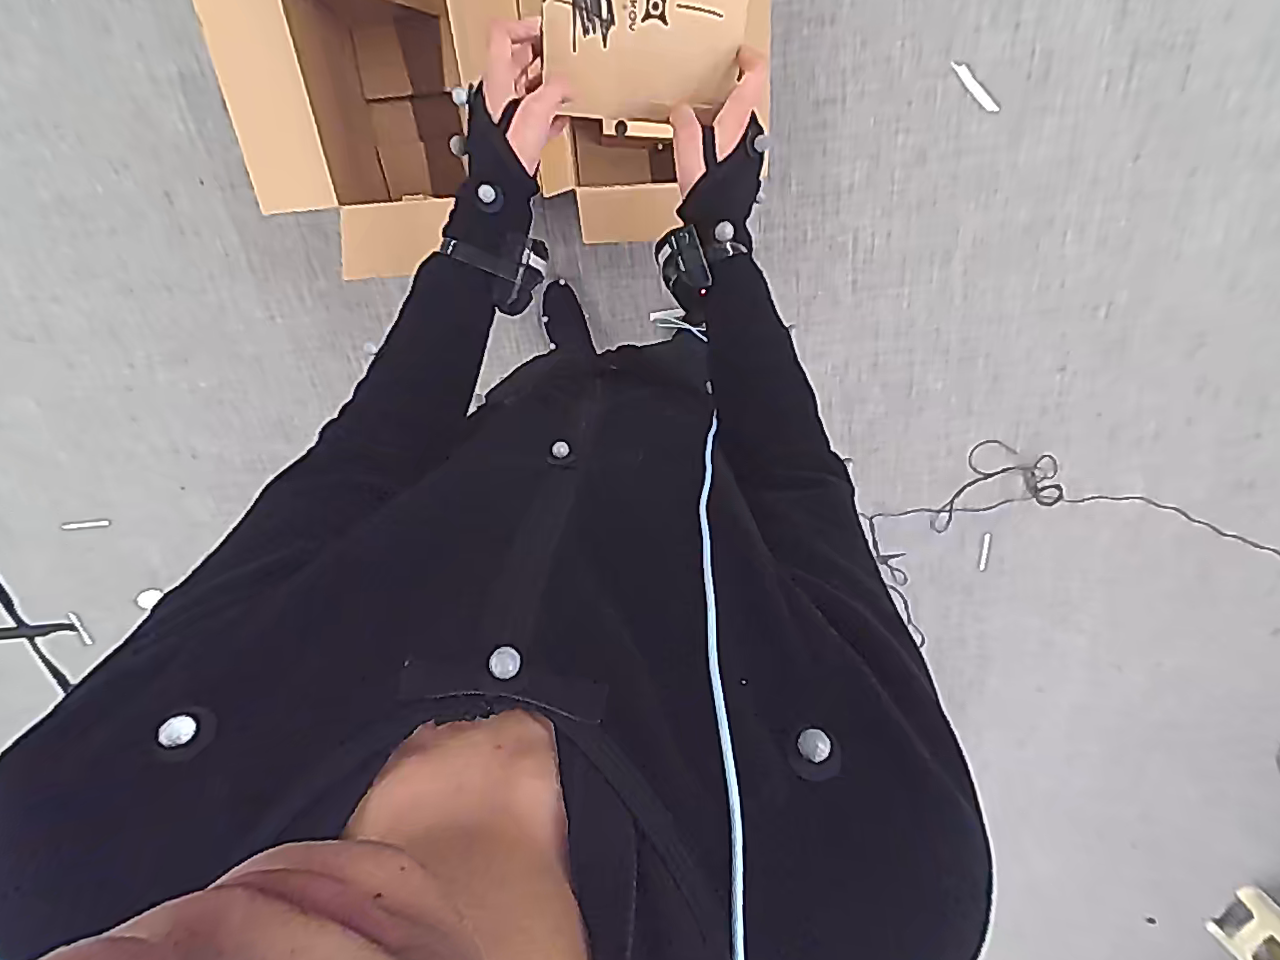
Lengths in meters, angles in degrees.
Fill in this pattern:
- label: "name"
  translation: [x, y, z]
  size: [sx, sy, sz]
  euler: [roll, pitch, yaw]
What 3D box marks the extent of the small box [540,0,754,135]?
- label: "small box"
  translation: [-0.001, -0.431, 0.504]
  size: [0.179, 0.176, 0.168]
  euler: [0, 126, -8]
